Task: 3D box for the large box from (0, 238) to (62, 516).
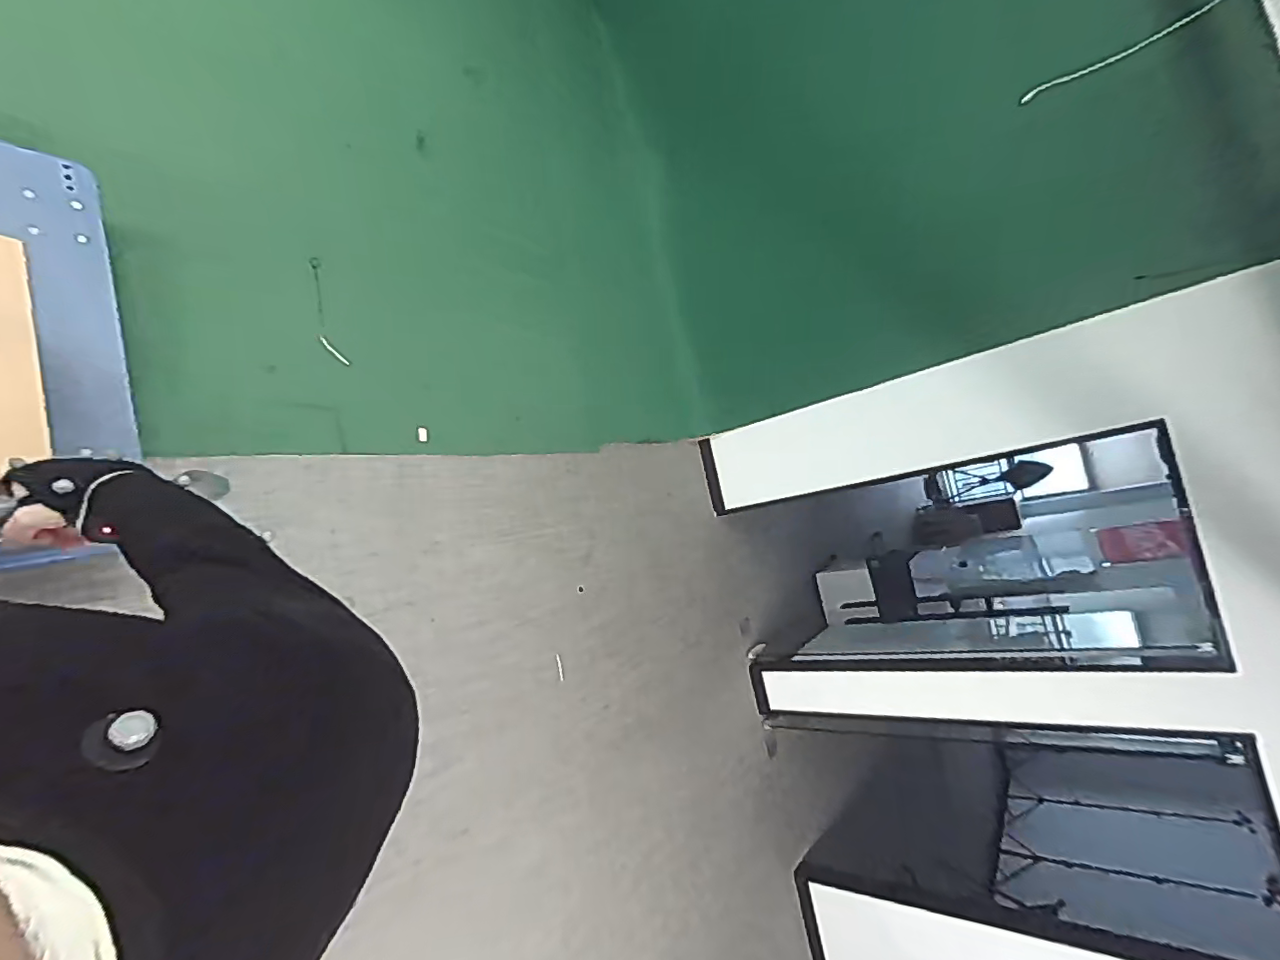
[{"bbox_3d":[-1.170,-0.148,0.843,0.320,0.320,0.408,-8,82,-52],"label":"large box"}]
